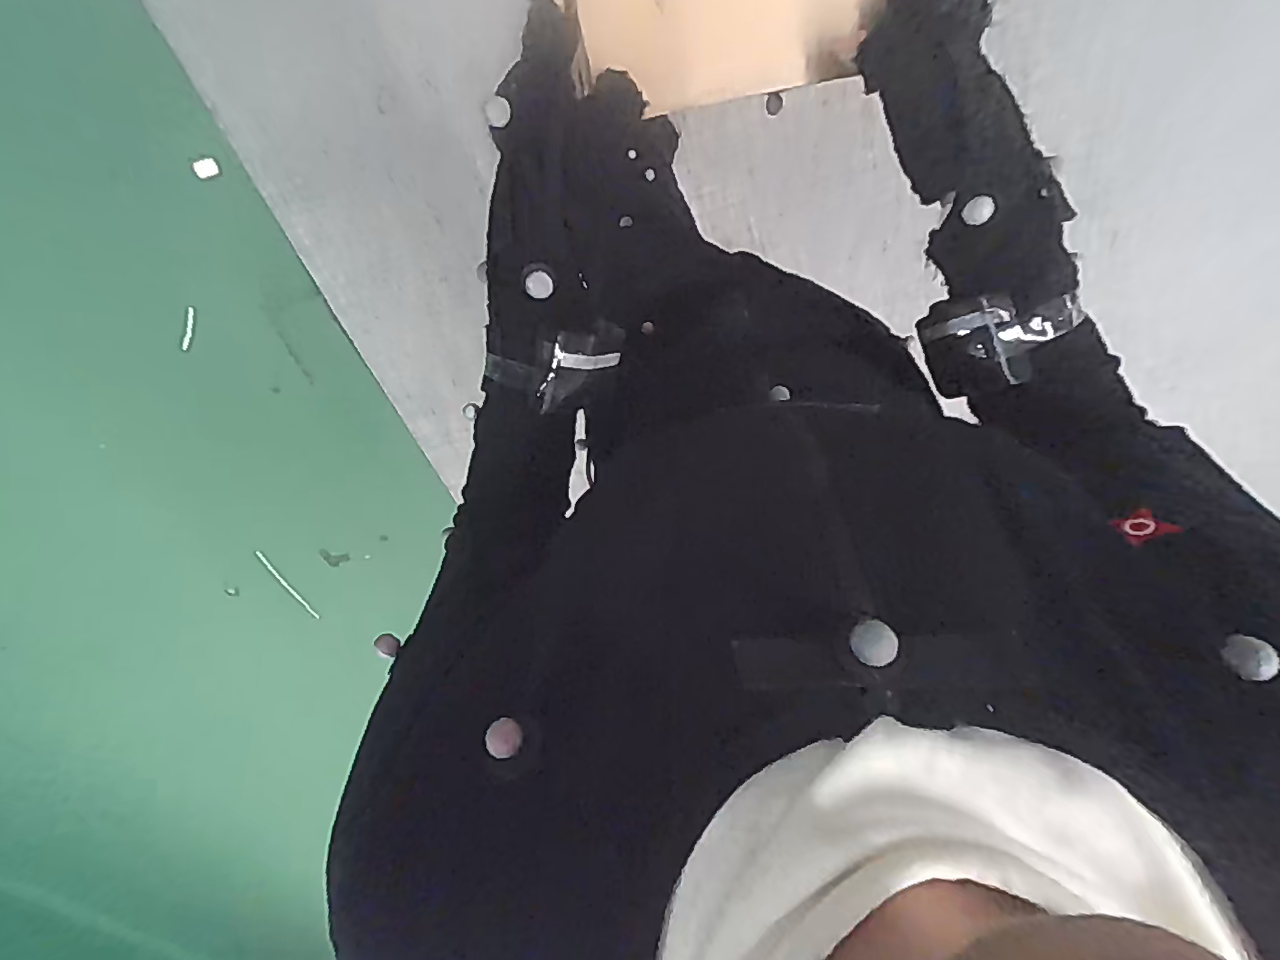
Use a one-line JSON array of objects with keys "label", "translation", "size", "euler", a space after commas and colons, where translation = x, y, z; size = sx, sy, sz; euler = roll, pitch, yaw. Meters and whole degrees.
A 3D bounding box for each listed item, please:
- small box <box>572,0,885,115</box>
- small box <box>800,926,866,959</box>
[{"label": "small box", "translation": [0.039, -0.349, 0.344], "size": [0.179, 0.176, 0.168], "euler": [-11, 124, 3]}, {"label": "small box", "translation": [0.579, 1.451, 1.597], "size": [0.179, 0.176, 0.168], "euler": [-12, 126, 7]}]
